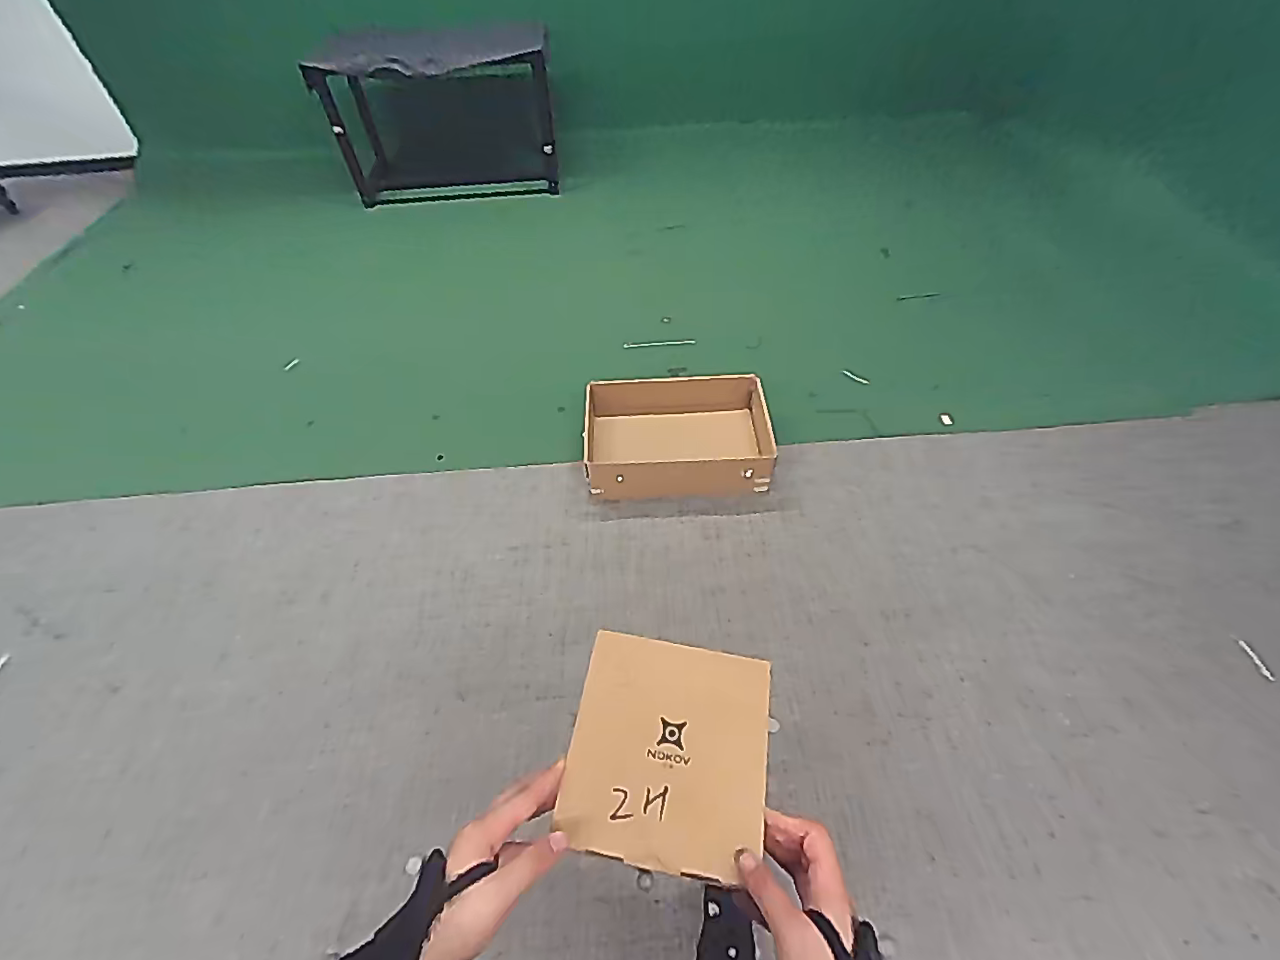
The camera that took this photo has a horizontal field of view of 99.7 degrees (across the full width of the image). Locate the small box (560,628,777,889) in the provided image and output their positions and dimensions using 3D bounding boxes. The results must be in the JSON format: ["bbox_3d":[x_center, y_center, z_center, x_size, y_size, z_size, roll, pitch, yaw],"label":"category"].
[{"bbox_3d":[0.029,0.269,0.522,0.168,0.176,0.179,9,55,5],"label":"small box"}]
